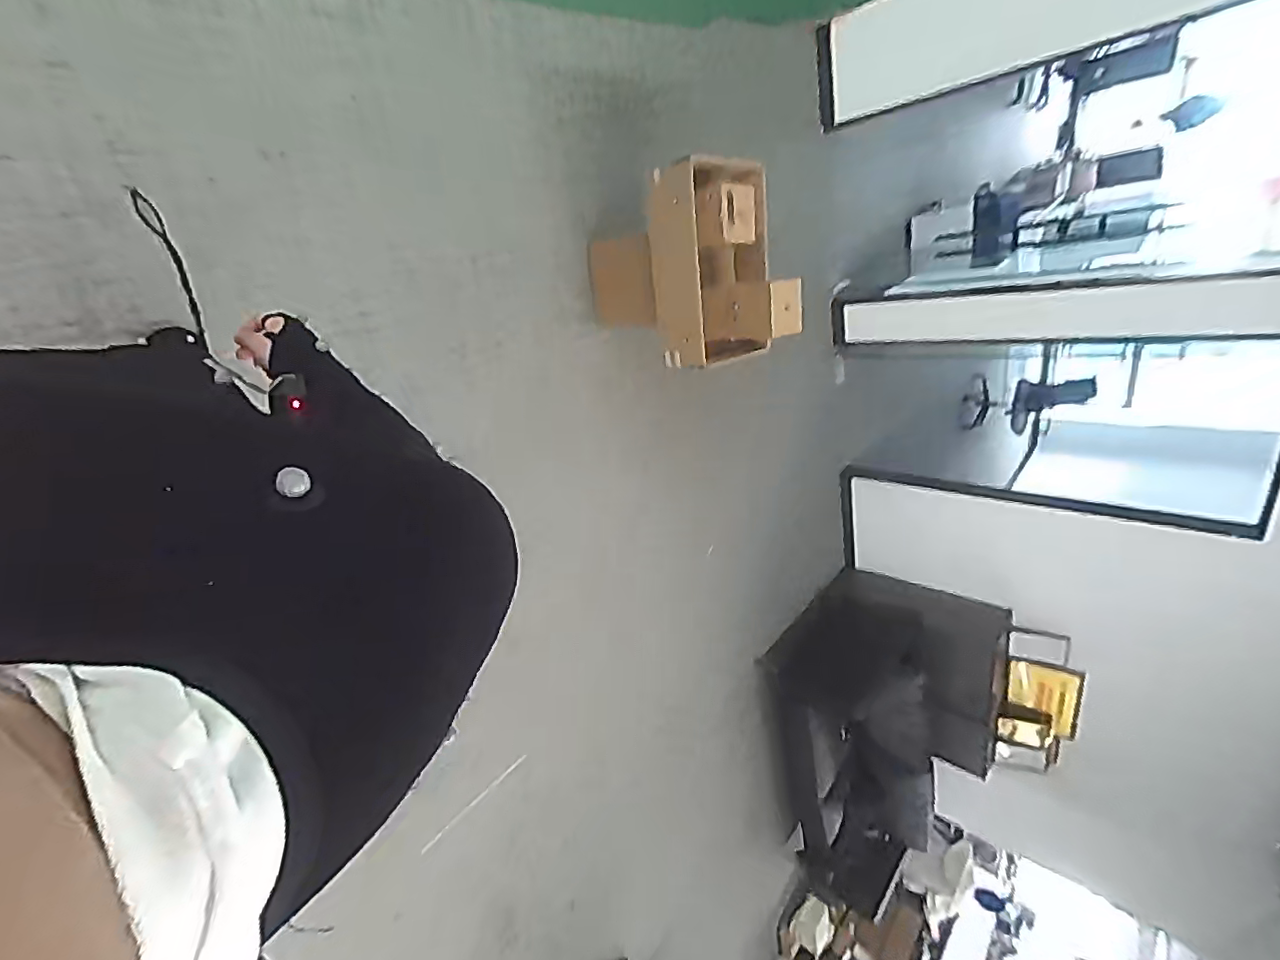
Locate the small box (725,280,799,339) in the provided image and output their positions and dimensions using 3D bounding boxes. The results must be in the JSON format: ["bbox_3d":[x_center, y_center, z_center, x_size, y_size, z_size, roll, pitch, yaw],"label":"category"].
[{"bbox_3d":[0.392,-0.547,1.734,0.179,0.176,0.168,-22,114,-40],"label":"small box"}]
